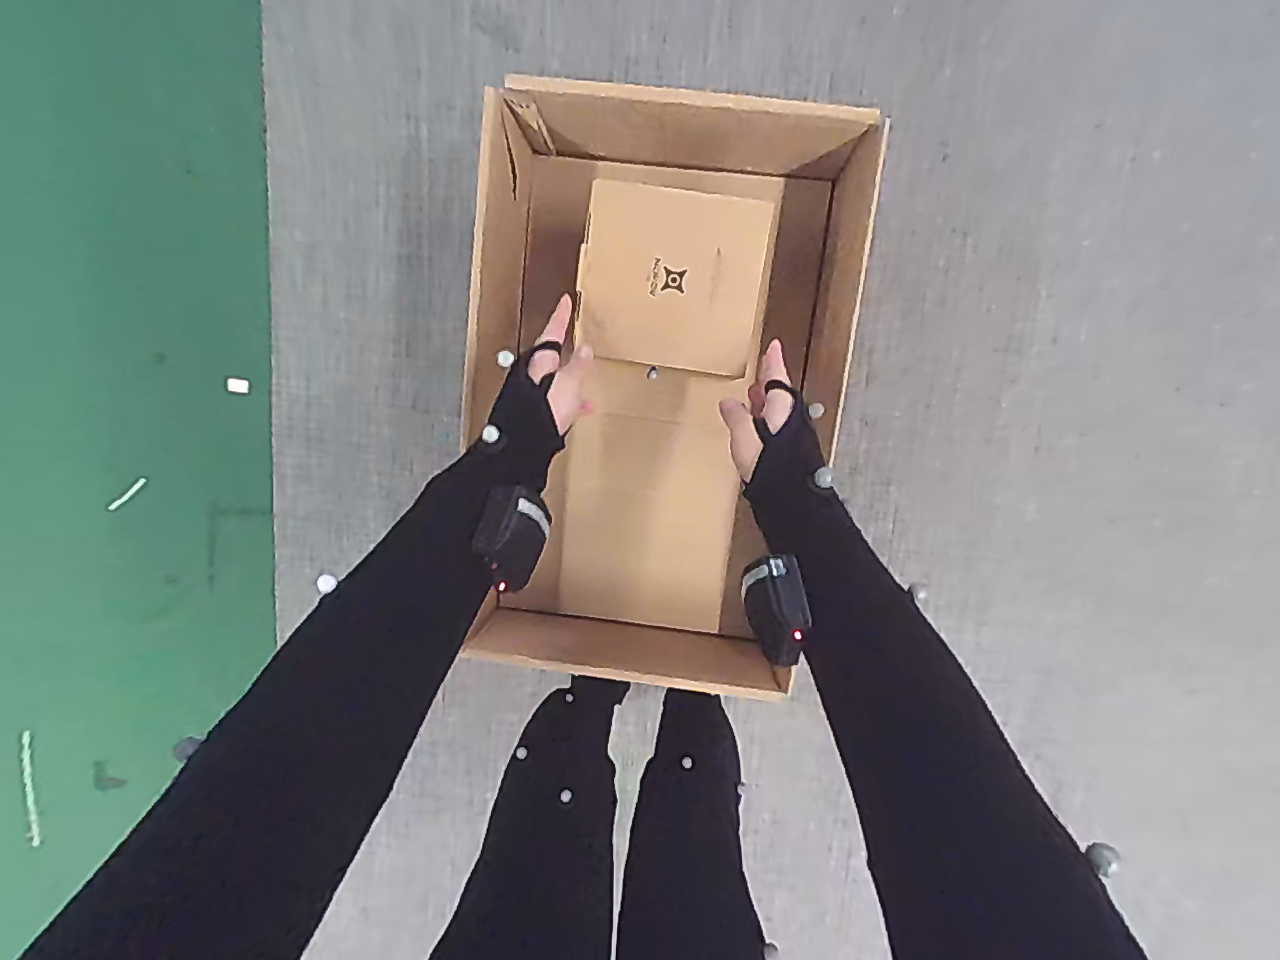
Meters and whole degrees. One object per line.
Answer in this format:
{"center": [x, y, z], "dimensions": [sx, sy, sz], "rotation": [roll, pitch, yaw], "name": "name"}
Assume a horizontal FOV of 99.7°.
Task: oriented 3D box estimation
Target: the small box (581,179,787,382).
{"center": [0.043, -0.204, 0.602], "dimensions": [0.179, 0.176, 0.168], "rotation": [10, 99, 0], "name": "small box"}
